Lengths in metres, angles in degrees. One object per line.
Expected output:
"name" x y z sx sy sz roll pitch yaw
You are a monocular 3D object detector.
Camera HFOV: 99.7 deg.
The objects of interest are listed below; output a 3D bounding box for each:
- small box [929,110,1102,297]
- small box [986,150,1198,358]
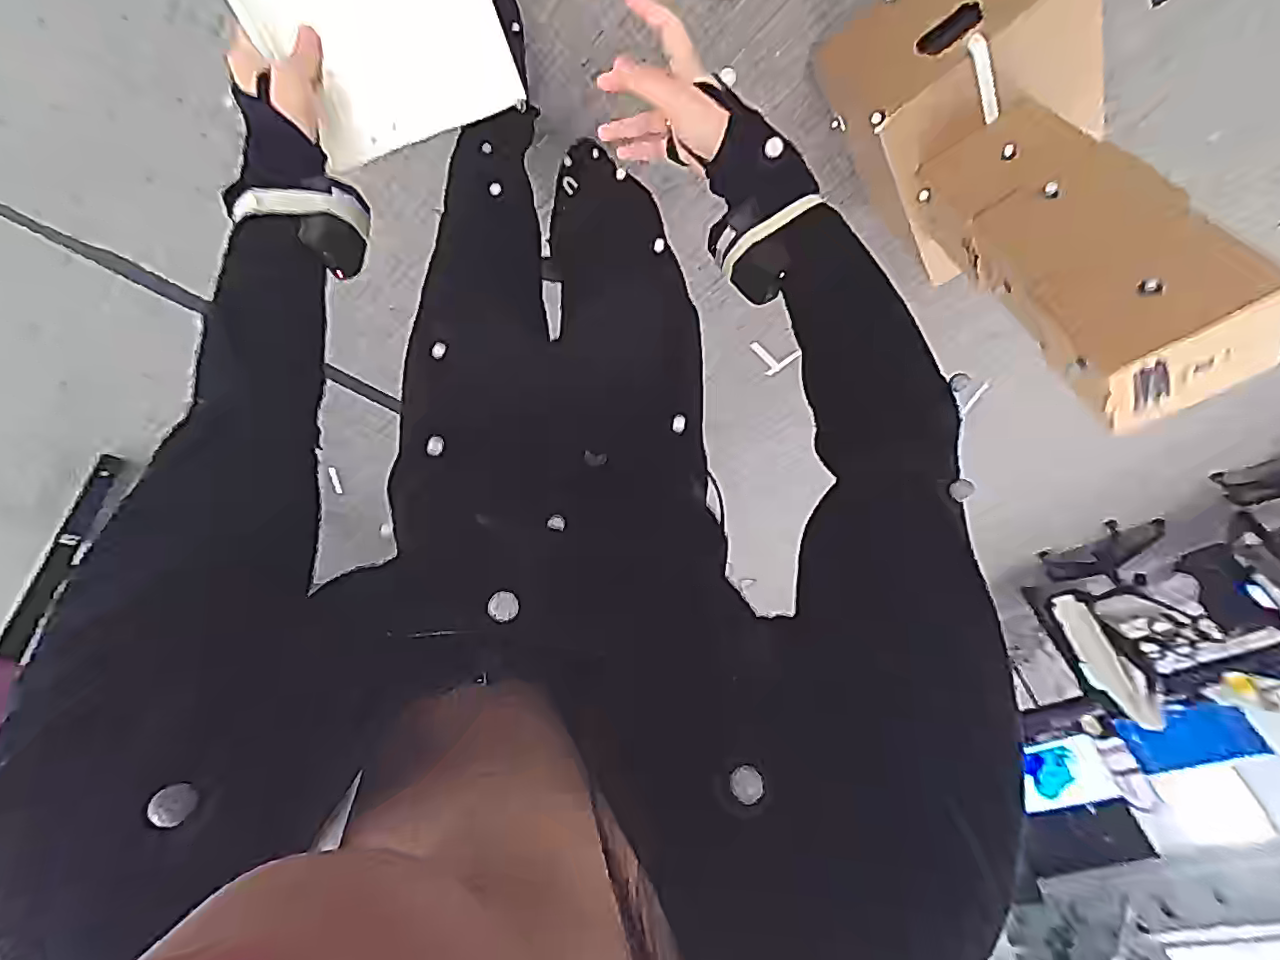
"small box" 0.594 -0.443 0.874 0.179 0.176 0.168 -28 140 22
"small box" 0.626 -0.317 0.773 0.179 0.176 0.168 -29 141 26
